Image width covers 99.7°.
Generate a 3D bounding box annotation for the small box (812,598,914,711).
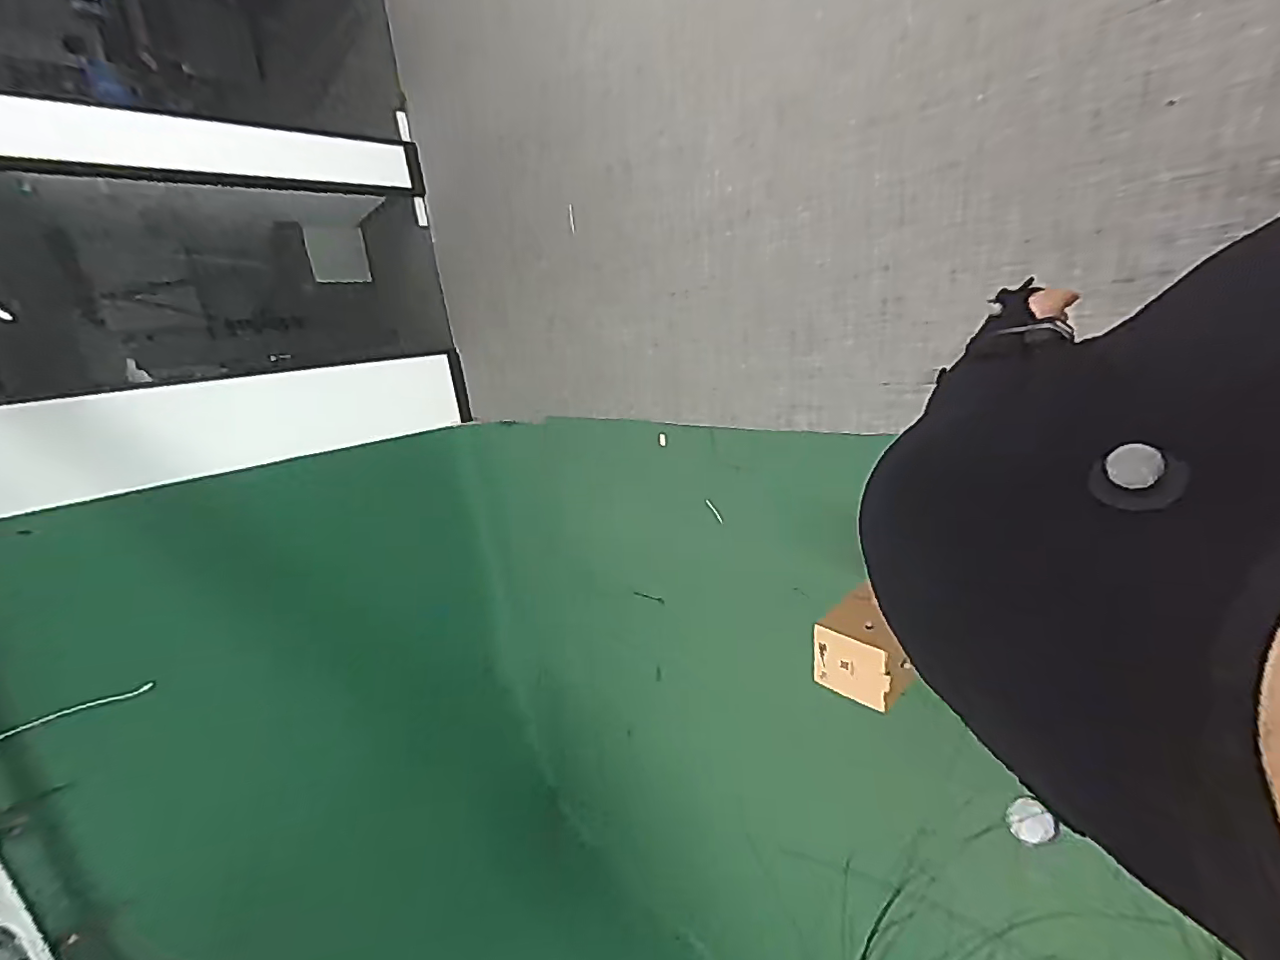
[{"bbox_3d":[0.534,0.405,1.292,0.179,0.176,0.168,13,115,46],"label":"small box"}]
